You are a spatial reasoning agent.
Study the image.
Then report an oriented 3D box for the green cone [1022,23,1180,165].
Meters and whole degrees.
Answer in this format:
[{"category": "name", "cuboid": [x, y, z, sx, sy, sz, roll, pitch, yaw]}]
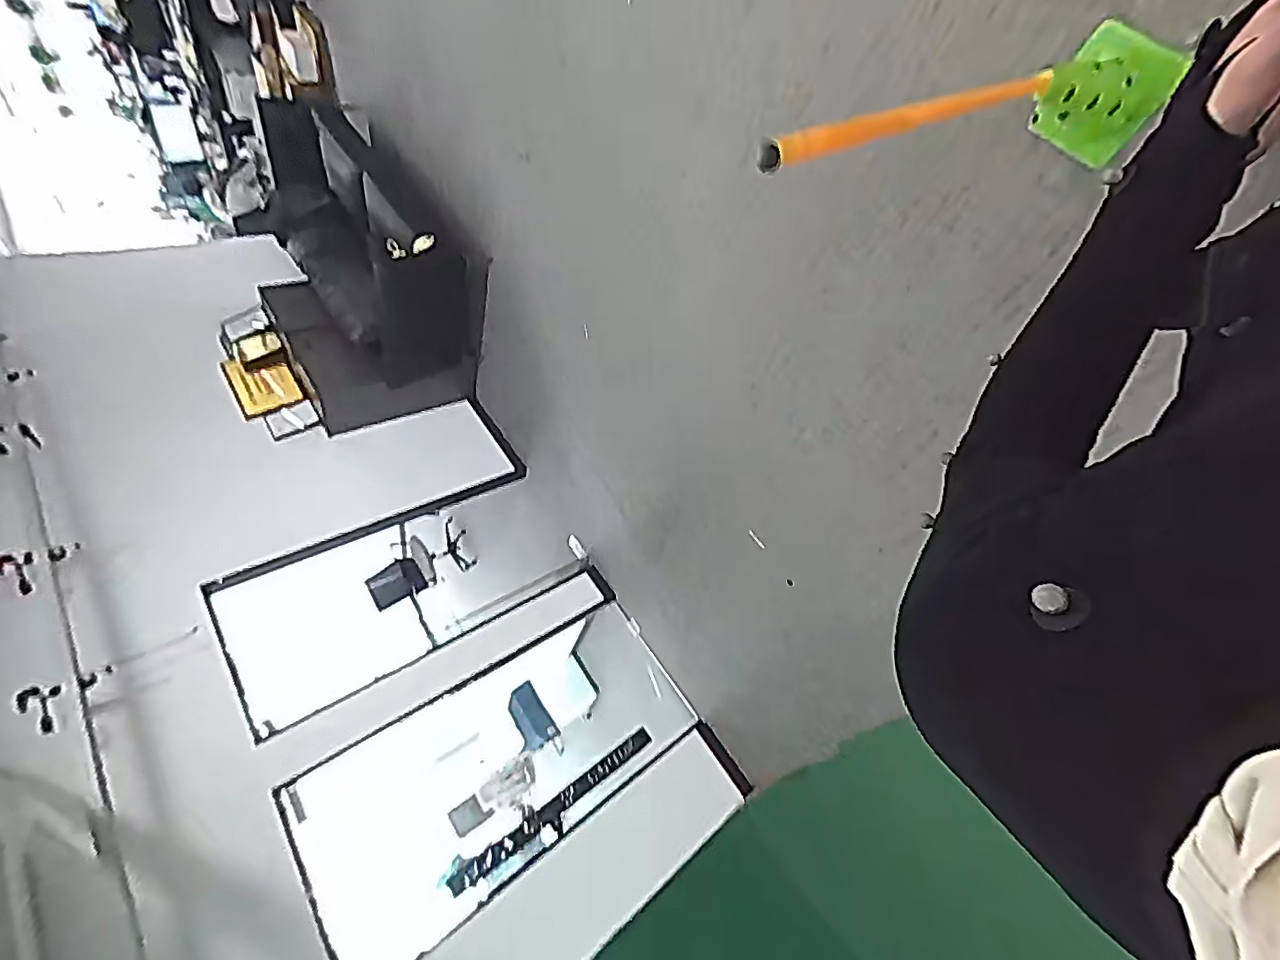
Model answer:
[{"category": "green cone", "cuboid": [0.829, -0.750, 1.038, 0.200, 0.368, 0.202, 52, 142, 19]}]
